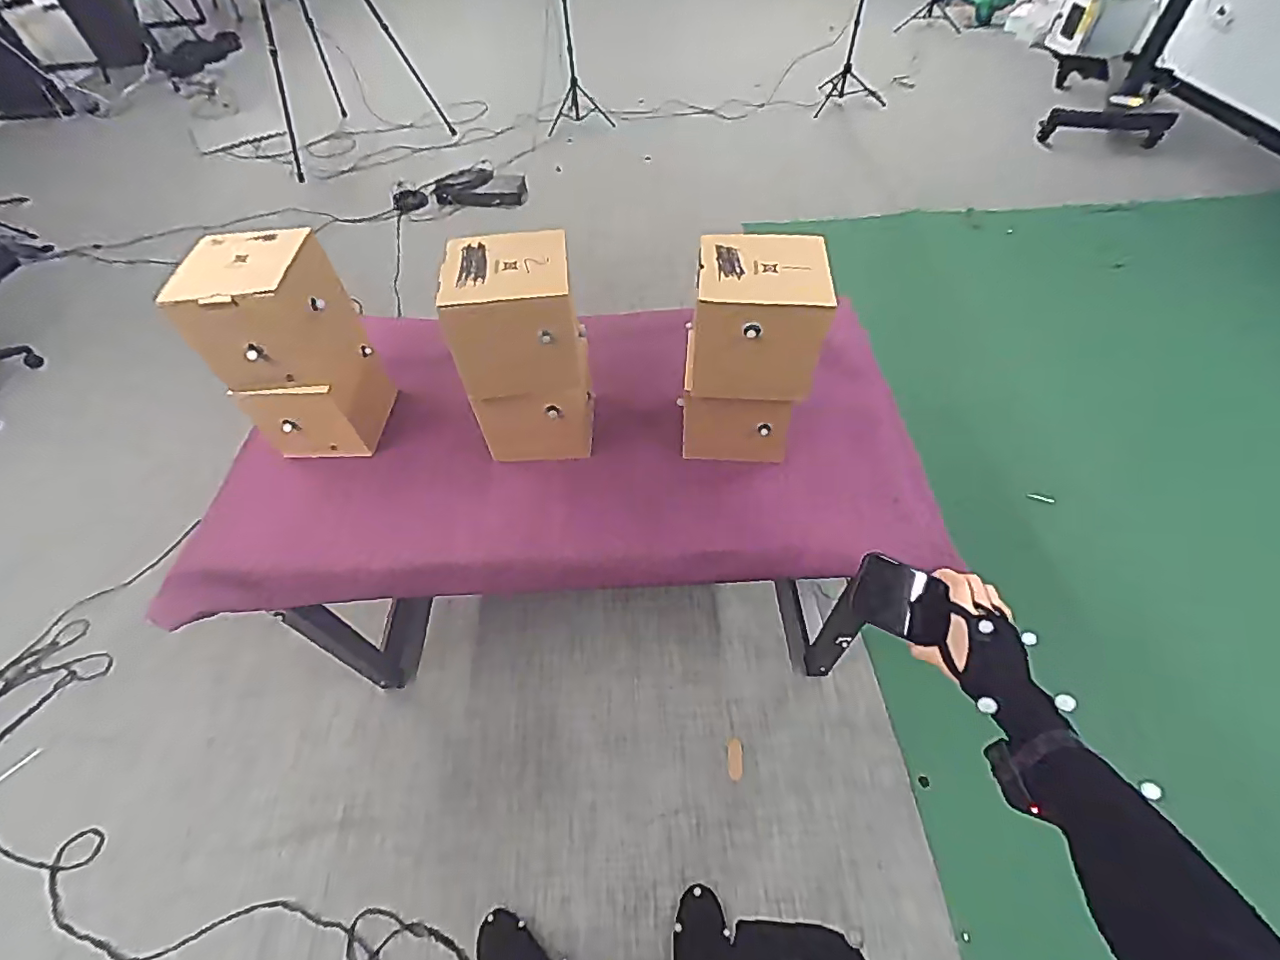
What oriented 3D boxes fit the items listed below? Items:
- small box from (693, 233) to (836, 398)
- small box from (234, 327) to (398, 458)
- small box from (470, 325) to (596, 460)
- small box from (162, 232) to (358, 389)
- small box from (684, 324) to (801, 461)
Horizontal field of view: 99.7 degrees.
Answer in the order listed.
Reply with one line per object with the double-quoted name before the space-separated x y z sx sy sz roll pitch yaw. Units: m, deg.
"small box" 0.167 -0.235 0.781 0.179 0.176 0.168 3 53 5
"small box" -0.562 -0.151 0.972 0.168 0.176 0.179 -1 53 3
"small box" -0.173 -0.148 0.942 0.179 0.176 0.168 -2 53 2
"small box" -0.571 -0.257 0.846 0.168 0.176 0.179 -5 53 -1
"small box" 0.168 -0.147 0.921 0.179 0.176 0.168 3 53 7
